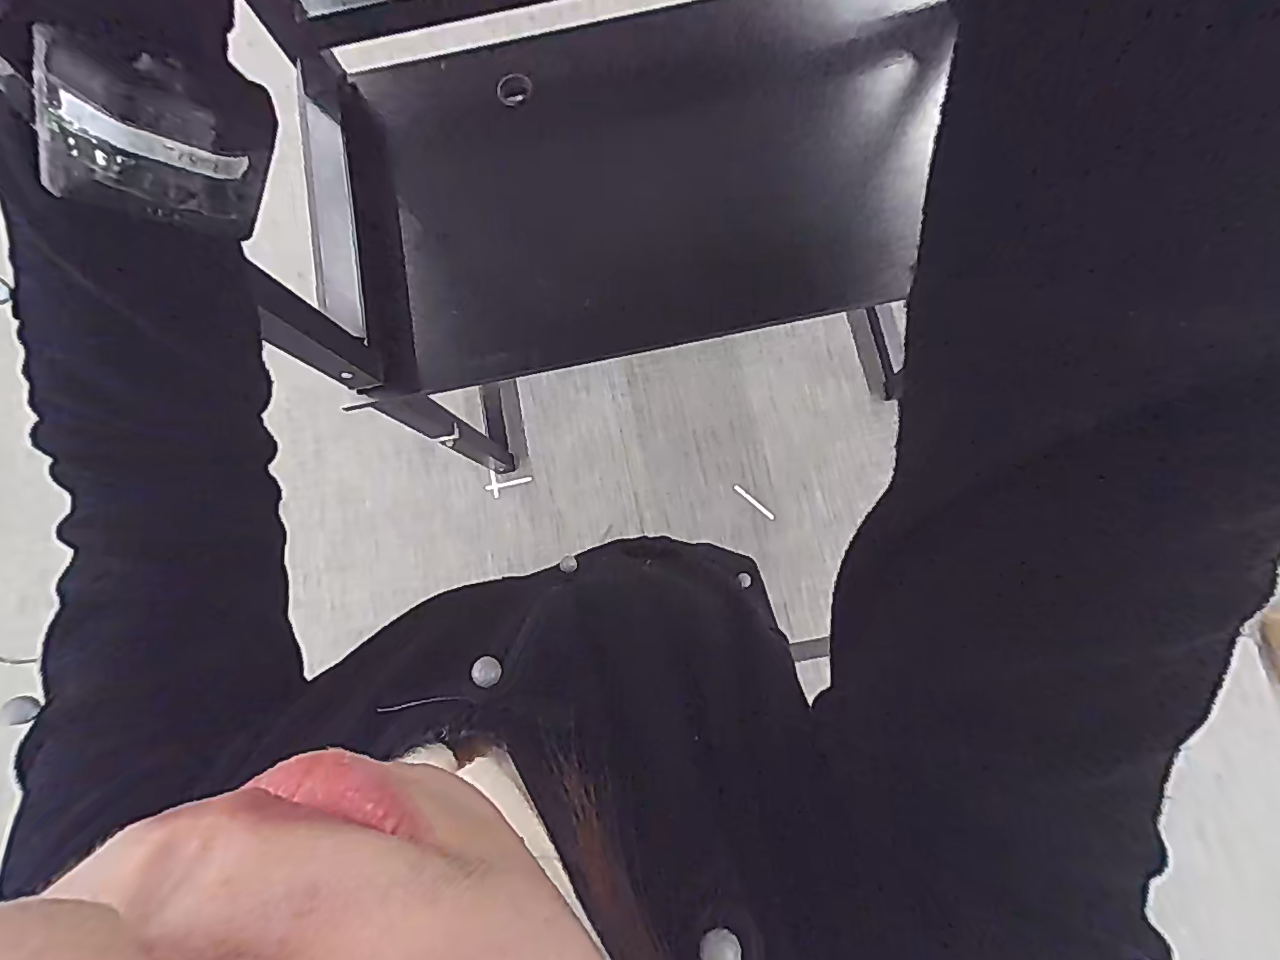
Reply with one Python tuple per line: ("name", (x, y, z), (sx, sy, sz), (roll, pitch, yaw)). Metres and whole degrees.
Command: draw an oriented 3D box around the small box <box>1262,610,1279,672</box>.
("small box", (1.676, 0.404, 1.292), (0.168, 0.176, 0.179), (-9, 82, 2))
